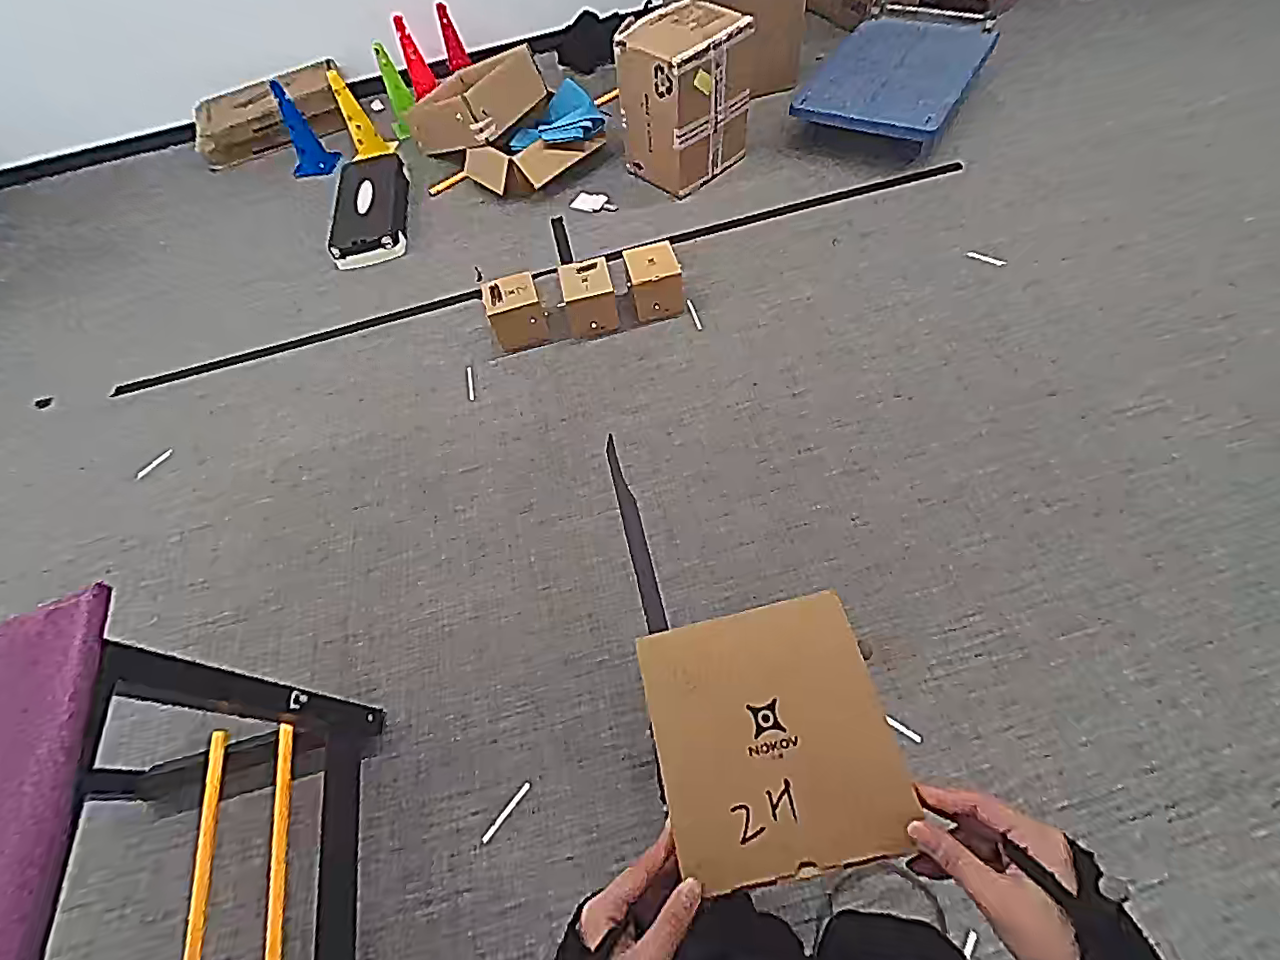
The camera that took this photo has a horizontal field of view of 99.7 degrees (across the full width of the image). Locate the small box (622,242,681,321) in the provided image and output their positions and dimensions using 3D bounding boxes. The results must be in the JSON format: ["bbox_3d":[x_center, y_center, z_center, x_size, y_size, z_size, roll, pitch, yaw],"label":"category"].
[{"bbox_3d":[0.041,-0.680,1.860,0.168,0.176,0.179,-15,59,-2],"label":"small box"}]

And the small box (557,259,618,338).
[{"bbox_3d":[-0.177,-0.618,1.847,0.168,0.176,0.179,-13,60,-1],"label":"small box"}]

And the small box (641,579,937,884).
[{"bbox_3d":[0.107,0.206,0.453,0.168,0.176,0.179,-15,61,4],"label":"small box"}]
